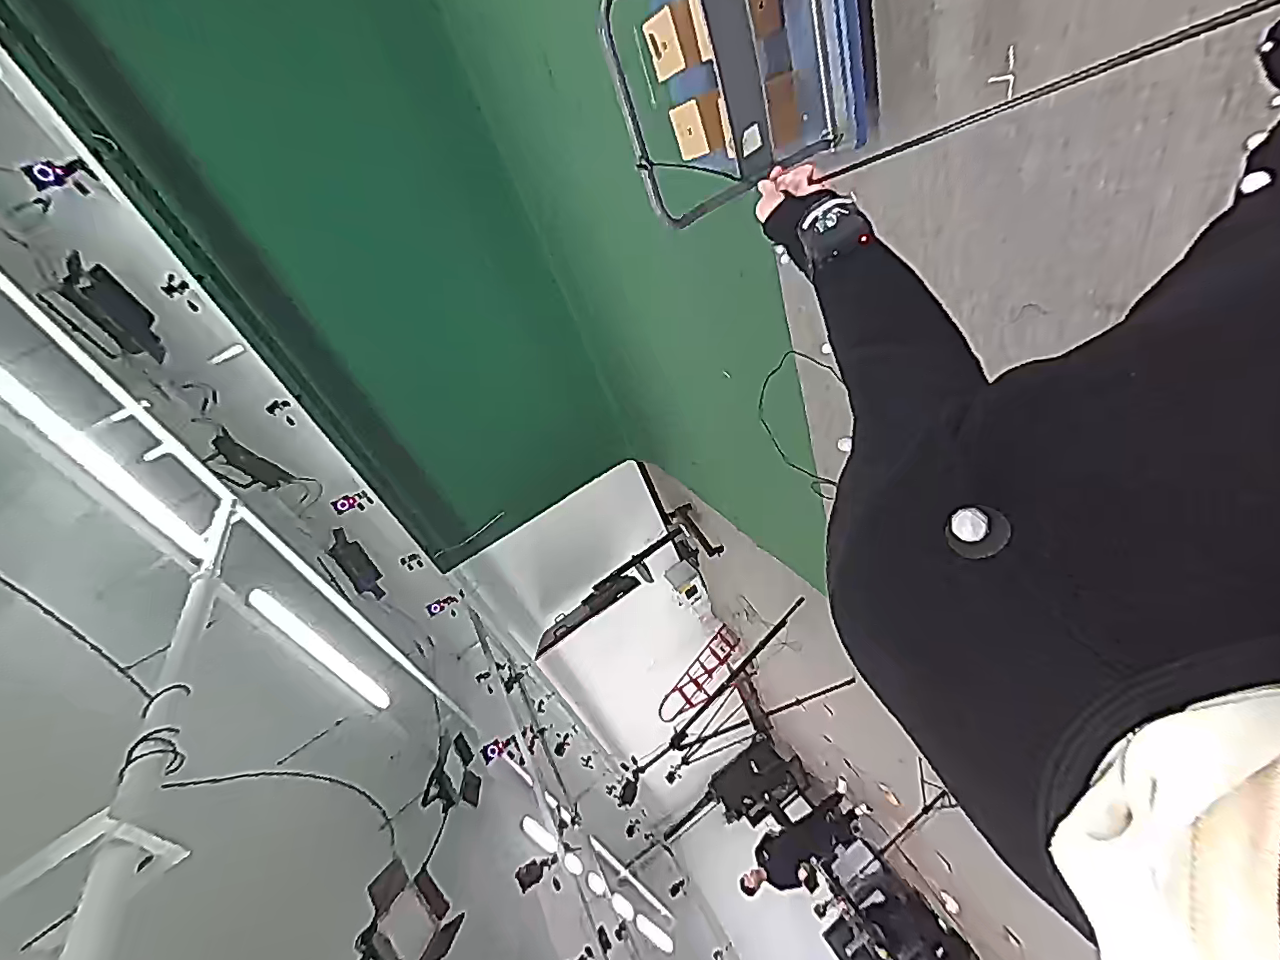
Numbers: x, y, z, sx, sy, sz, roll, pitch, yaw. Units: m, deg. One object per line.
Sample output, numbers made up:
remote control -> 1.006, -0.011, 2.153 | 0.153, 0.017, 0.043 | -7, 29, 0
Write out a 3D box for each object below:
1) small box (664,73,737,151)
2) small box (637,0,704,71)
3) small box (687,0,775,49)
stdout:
small box -> 0.218, -1.277, 1.880 | 0.179, 0.176, 0.168 | 36, 155, 55
small box -> 0.124, -1.472, 1.750 | 0.179, 0.176, 0.168 | 35, 156, 55
small box -> 0.255, -1.368, 1.538 | 0.179, 0.176, 0.168 | 38, 158, 51
